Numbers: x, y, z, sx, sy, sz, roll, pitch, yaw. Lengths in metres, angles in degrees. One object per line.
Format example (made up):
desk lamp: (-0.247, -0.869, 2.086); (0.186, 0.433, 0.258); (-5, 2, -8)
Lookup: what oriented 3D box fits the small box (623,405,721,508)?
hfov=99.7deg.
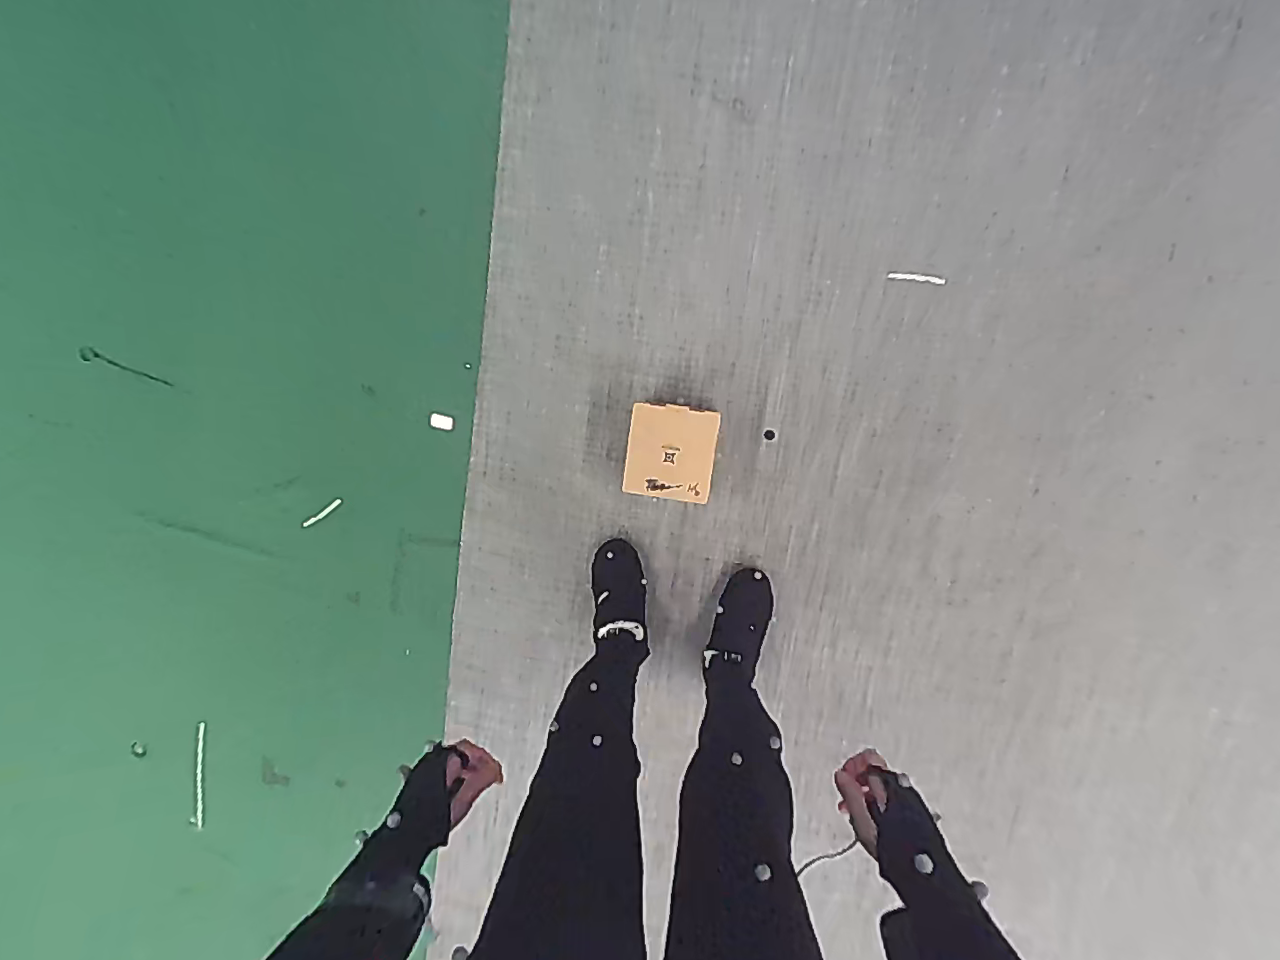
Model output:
small box: (0.066, -0.052, 1.090); (0.168, 0.176, 0.179); (9, 98, 6)
